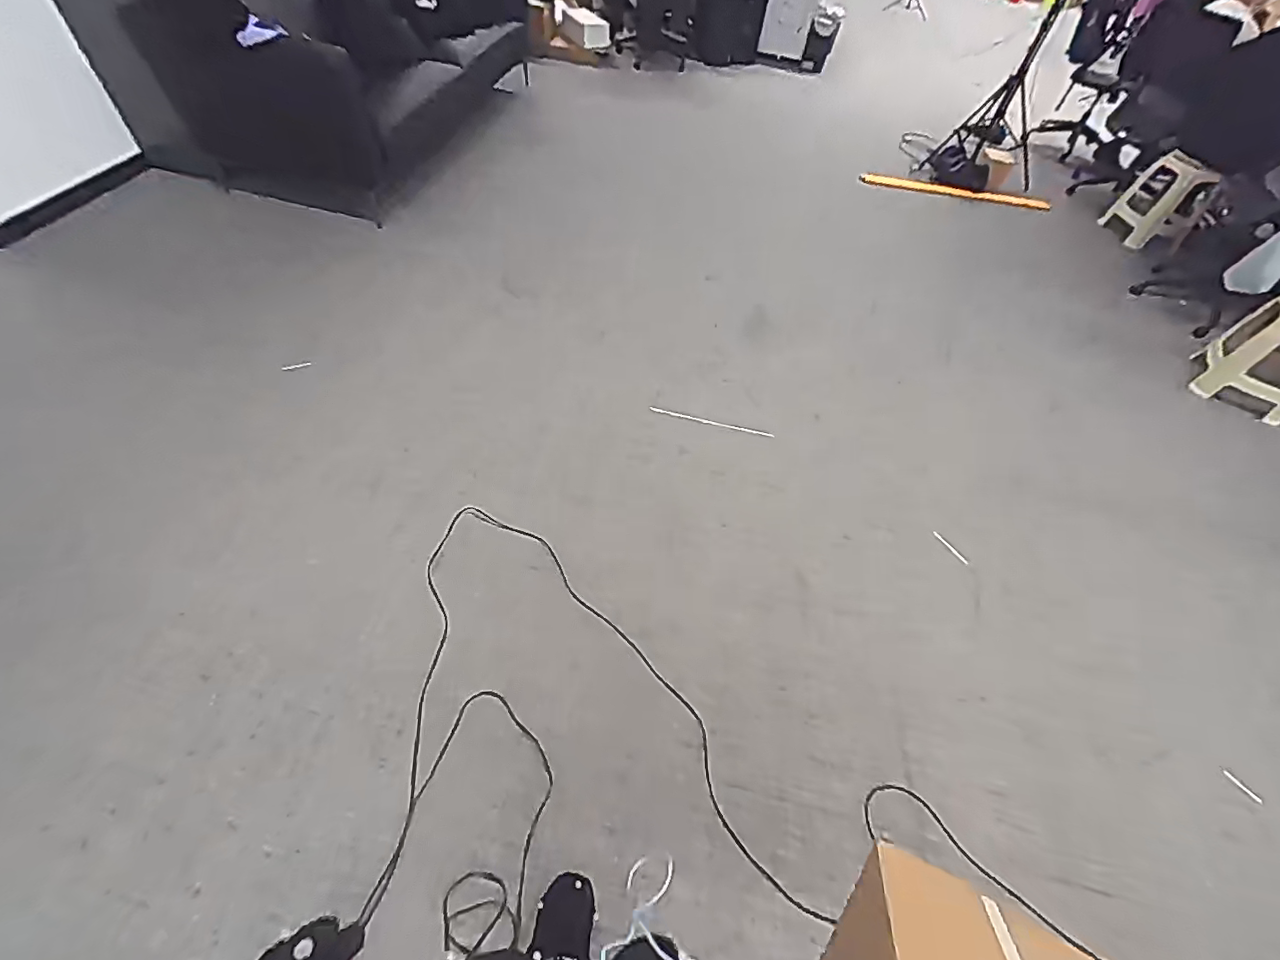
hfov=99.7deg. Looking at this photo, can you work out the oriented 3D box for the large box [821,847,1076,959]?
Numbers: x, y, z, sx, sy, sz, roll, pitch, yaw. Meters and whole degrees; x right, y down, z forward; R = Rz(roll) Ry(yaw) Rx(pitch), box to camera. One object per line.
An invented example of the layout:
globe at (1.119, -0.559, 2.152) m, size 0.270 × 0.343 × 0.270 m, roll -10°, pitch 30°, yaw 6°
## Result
large box at (0.379, 0.758, 0.617) m, size 0.320 × 0.408 × 0.320 m, roll 24°, pitch 96°, yaw 17°
